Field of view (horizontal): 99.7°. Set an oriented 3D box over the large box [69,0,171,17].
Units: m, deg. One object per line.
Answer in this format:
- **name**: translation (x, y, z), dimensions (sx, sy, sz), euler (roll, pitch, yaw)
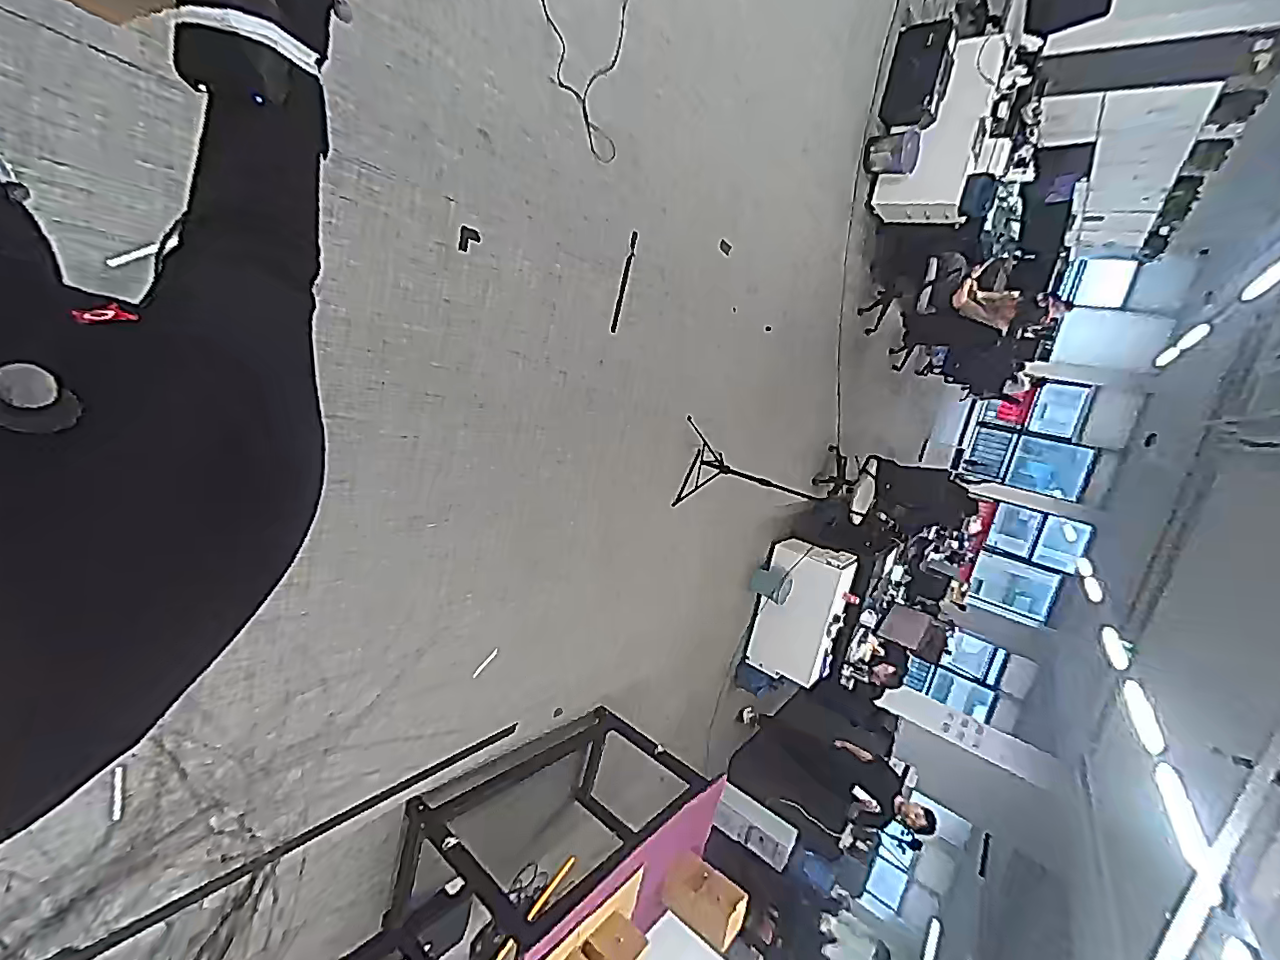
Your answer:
- **large box**: translation (-0.452, -0.513, 0.237), dimensions (0.408, 0.320, 0.320), euler (-1, 114, -56)
